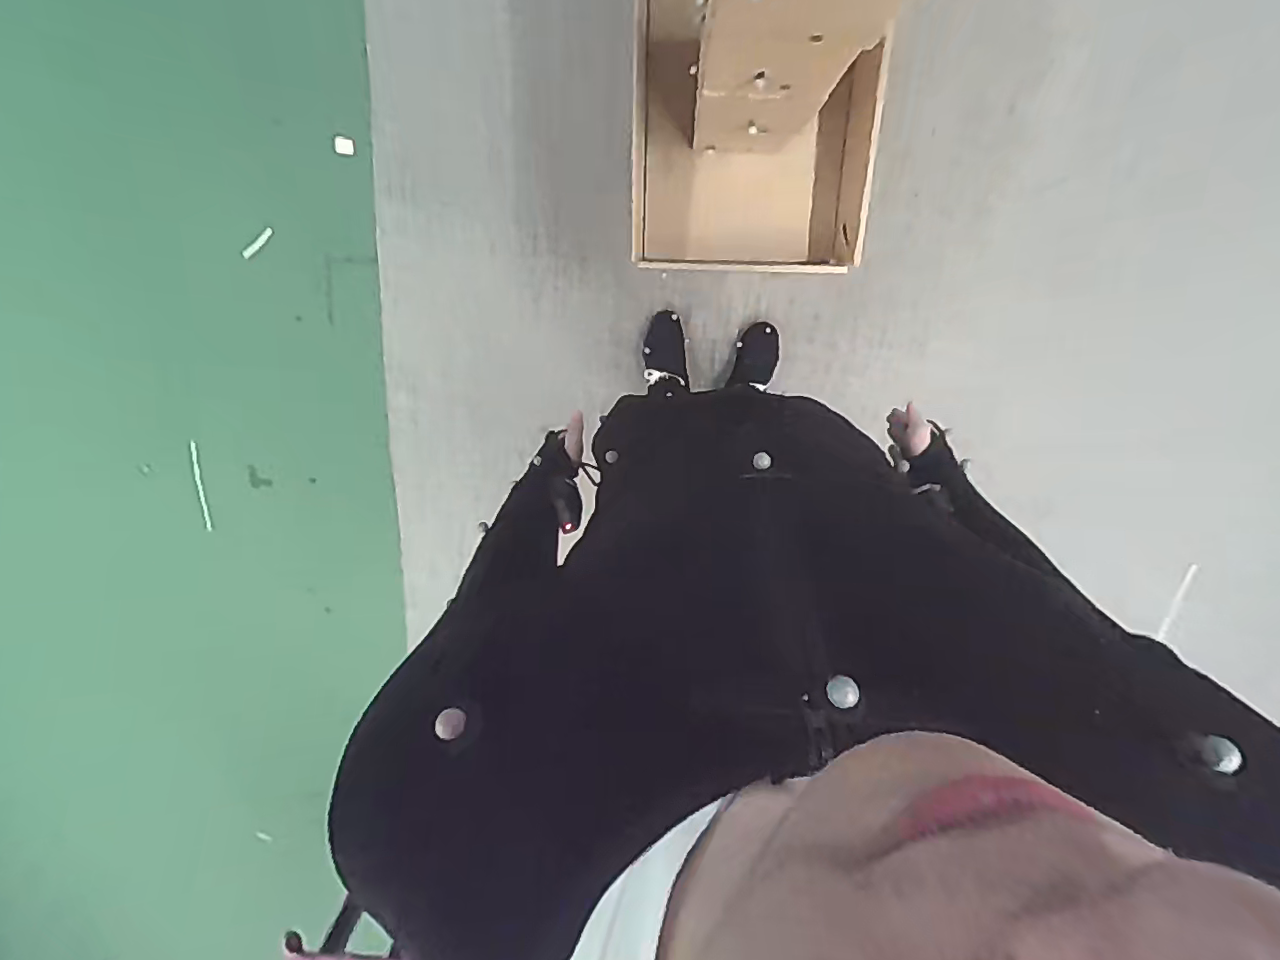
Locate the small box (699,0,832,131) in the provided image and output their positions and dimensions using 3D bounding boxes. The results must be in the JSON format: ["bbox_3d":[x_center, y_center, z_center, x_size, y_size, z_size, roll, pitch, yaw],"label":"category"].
[{"bbox_3d":[0.170,-0.607,0.743,0.168,0.176,0.179,3,109,3],"label":"small box"}]

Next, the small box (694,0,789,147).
[{"bbox_3d":[0.178,-0.671,0.895,0.168,0.176,0.179,3,108,2],"label":"small box"}]

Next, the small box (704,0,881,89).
[{"bbox_3d":[0.160,-0.560,0.588,0.168,0.176,0.179,2,109,2],"label":"small box"}]
